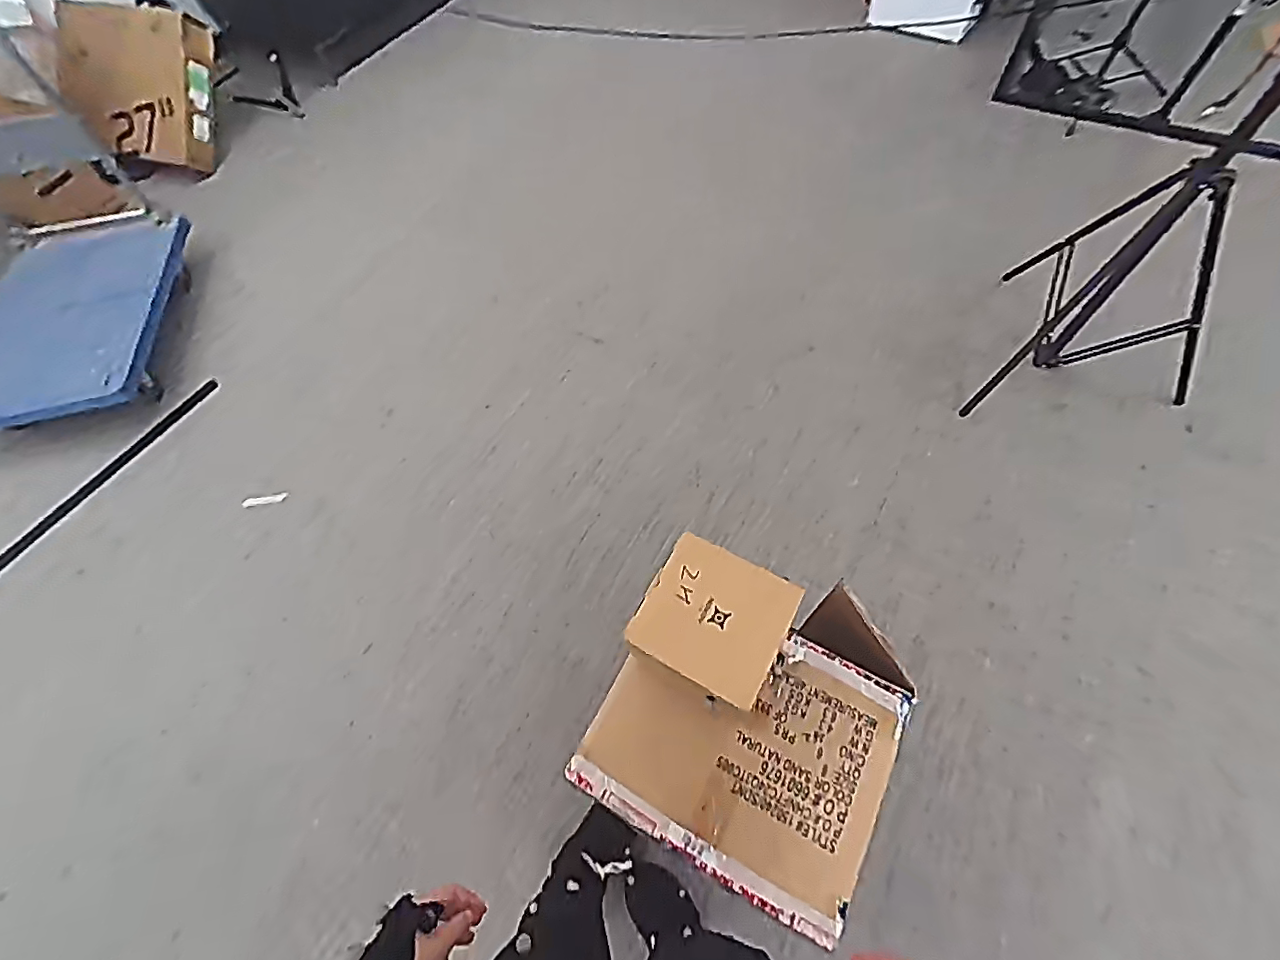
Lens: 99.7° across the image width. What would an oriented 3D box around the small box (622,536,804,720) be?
[{"bbox_3d":[0.101,0.209,0.743,0.179,0.176,0.168,26,67,20],"label":"small box"}]
